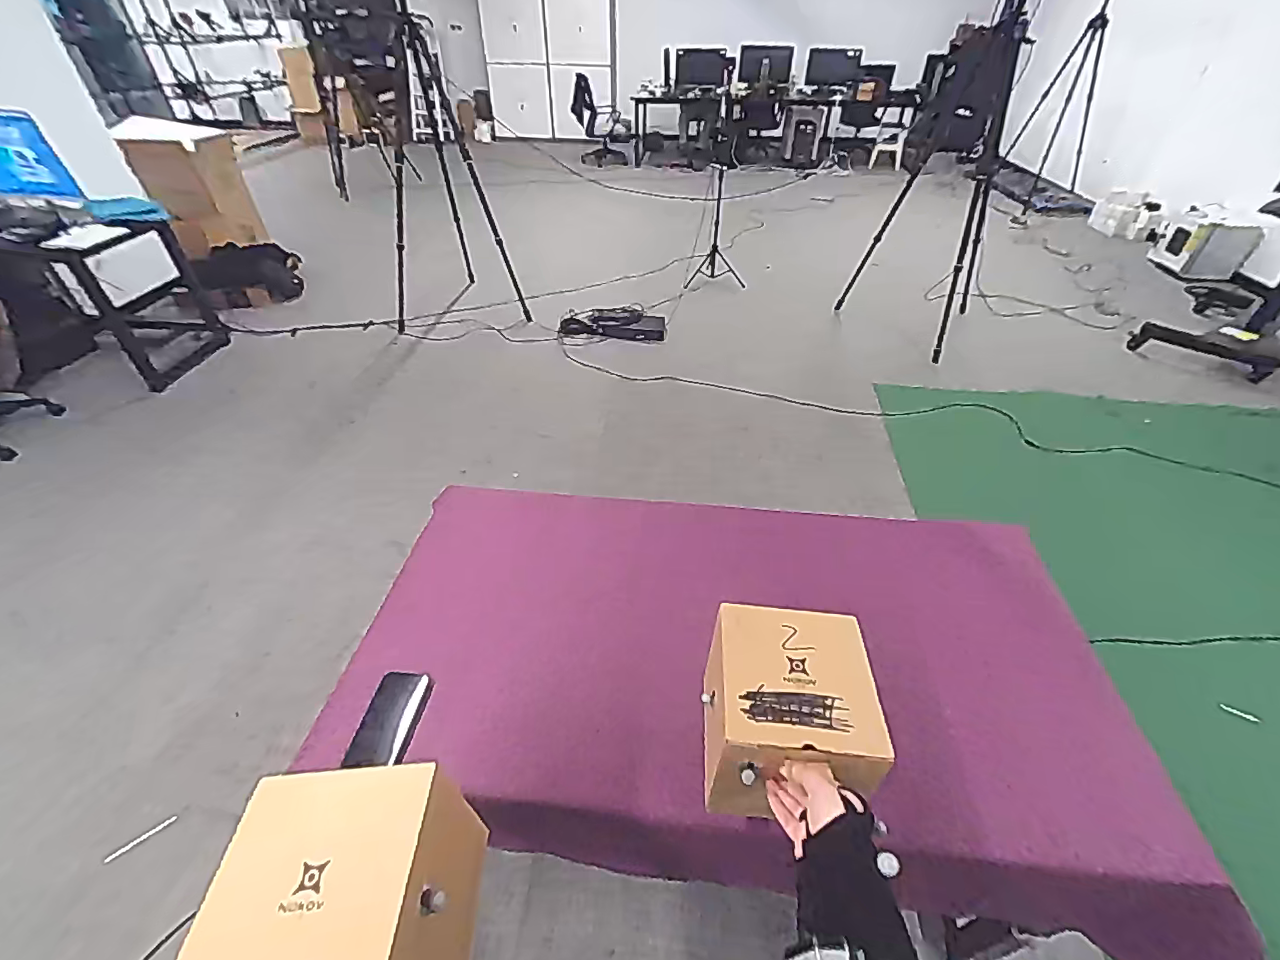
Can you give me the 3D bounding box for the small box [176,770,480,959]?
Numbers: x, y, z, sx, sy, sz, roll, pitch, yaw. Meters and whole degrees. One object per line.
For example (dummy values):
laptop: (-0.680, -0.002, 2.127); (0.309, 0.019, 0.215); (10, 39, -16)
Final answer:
small box: (-0.251, 0.382, 0.472); (0.168, 0.176, 0.179); (-5, 40, 2)
